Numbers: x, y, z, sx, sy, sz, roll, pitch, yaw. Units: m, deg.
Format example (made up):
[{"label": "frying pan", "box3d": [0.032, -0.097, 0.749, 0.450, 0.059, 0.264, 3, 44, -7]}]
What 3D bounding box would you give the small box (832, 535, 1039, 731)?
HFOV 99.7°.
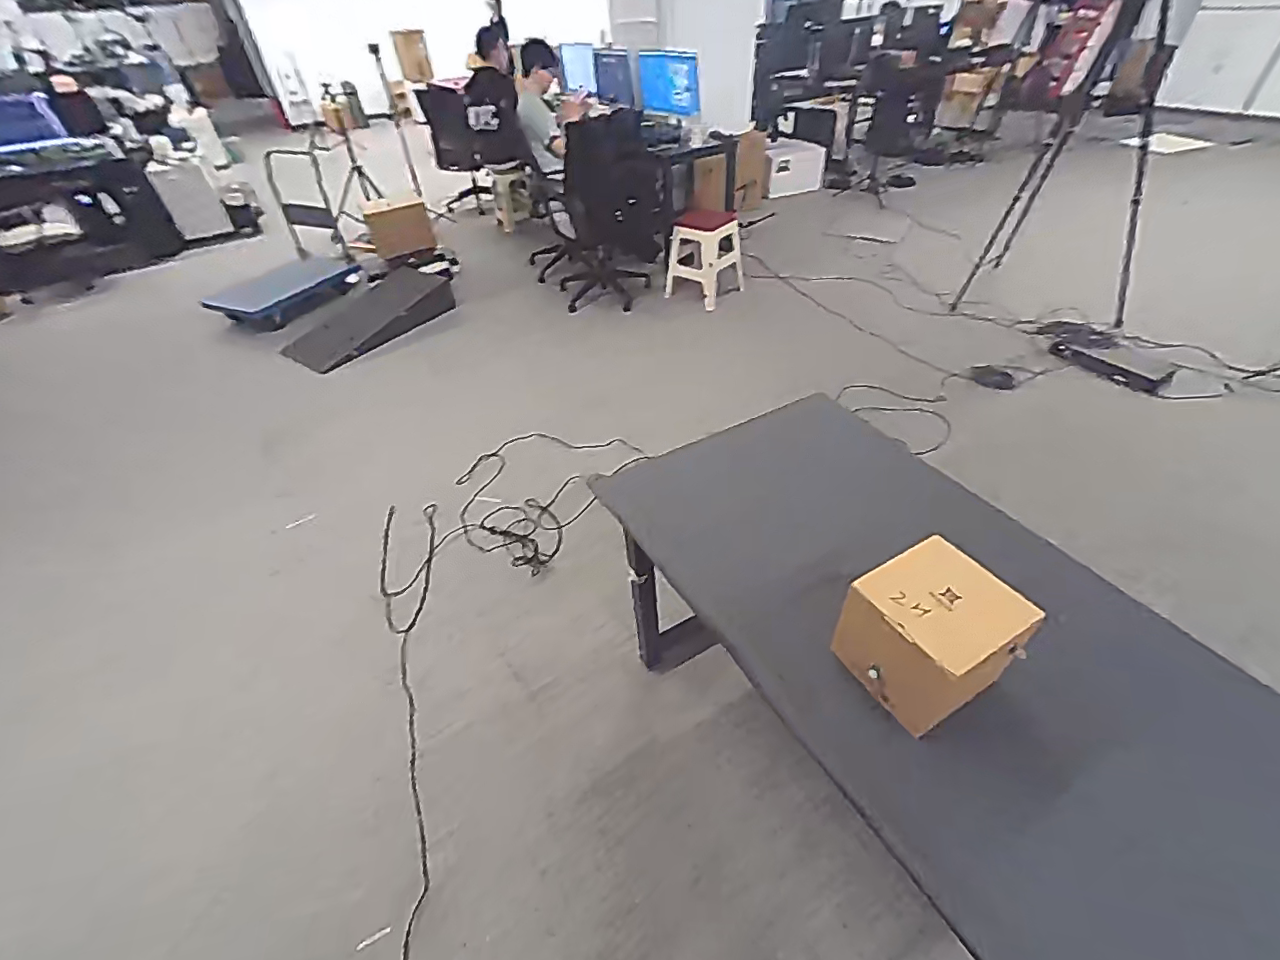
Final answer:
[{"label": "small box", "box3d": [0.402, 0.215, 0.769, 0.179, 0.176, 0.168, -22, 45, -20]}]
